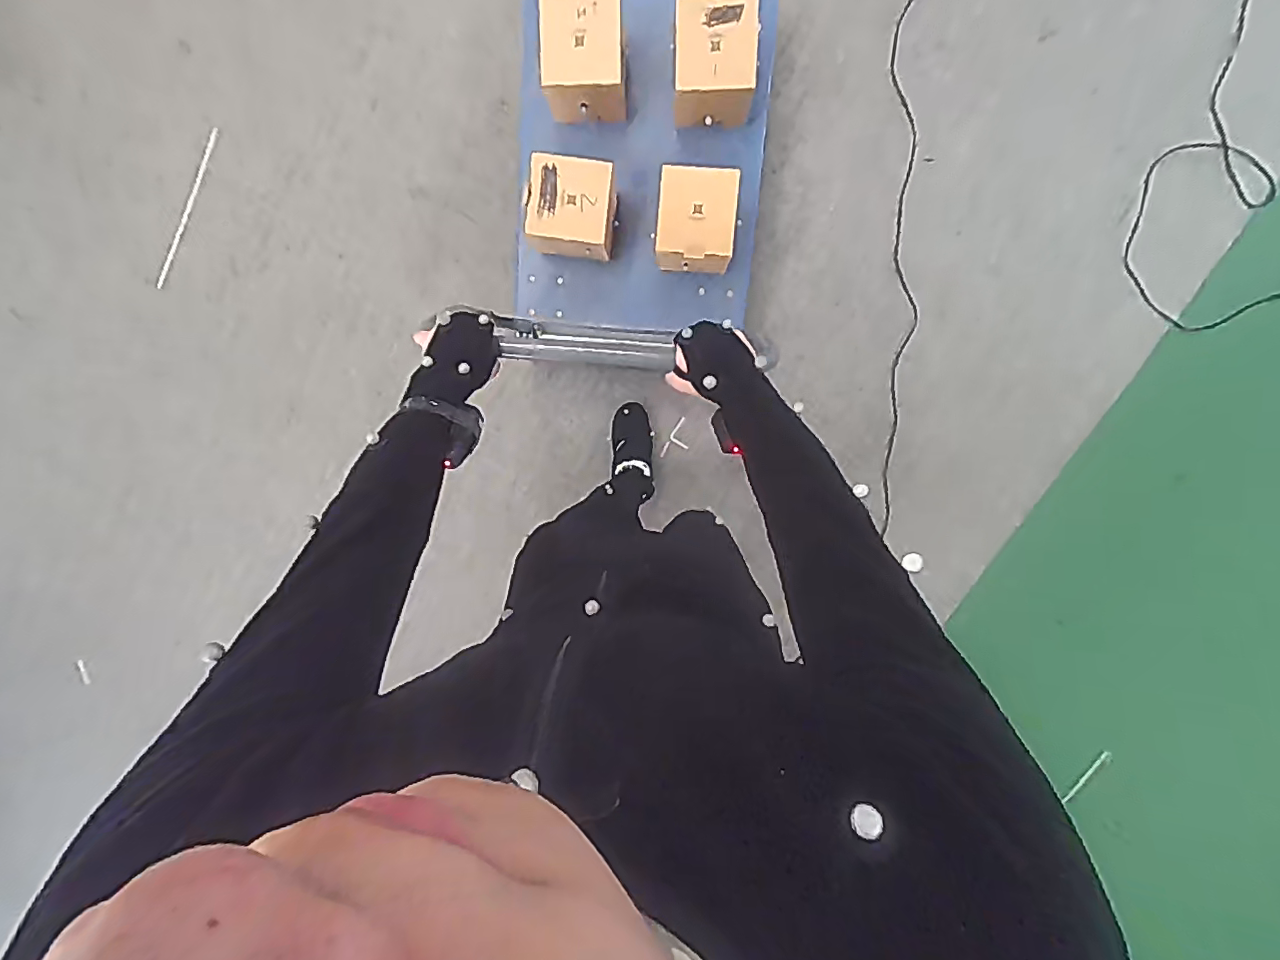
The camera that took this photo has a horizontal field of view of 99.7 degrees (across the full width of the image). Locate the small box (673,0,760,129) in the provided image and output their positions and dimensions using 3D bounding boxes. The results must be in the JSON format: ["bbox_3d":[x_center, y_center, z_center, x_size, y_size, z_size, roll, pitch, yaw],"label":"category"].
[{"bbox_3d":[0.157,-0.889,1.162,0.168,0.176,0.179,1,101,3],"label":"small box"}]

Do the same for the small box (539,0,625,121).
[{"bbox_3d":[-0.118,-0.906,1.171,0.168,0.176,0.179,1,100,2],"label":"small box"}]

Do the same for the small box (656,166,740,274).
[{"bbox_3d":[0.124,-0.579,1.222,0.168,0.176,0.179,4,101,1],"label":"small box"}]
